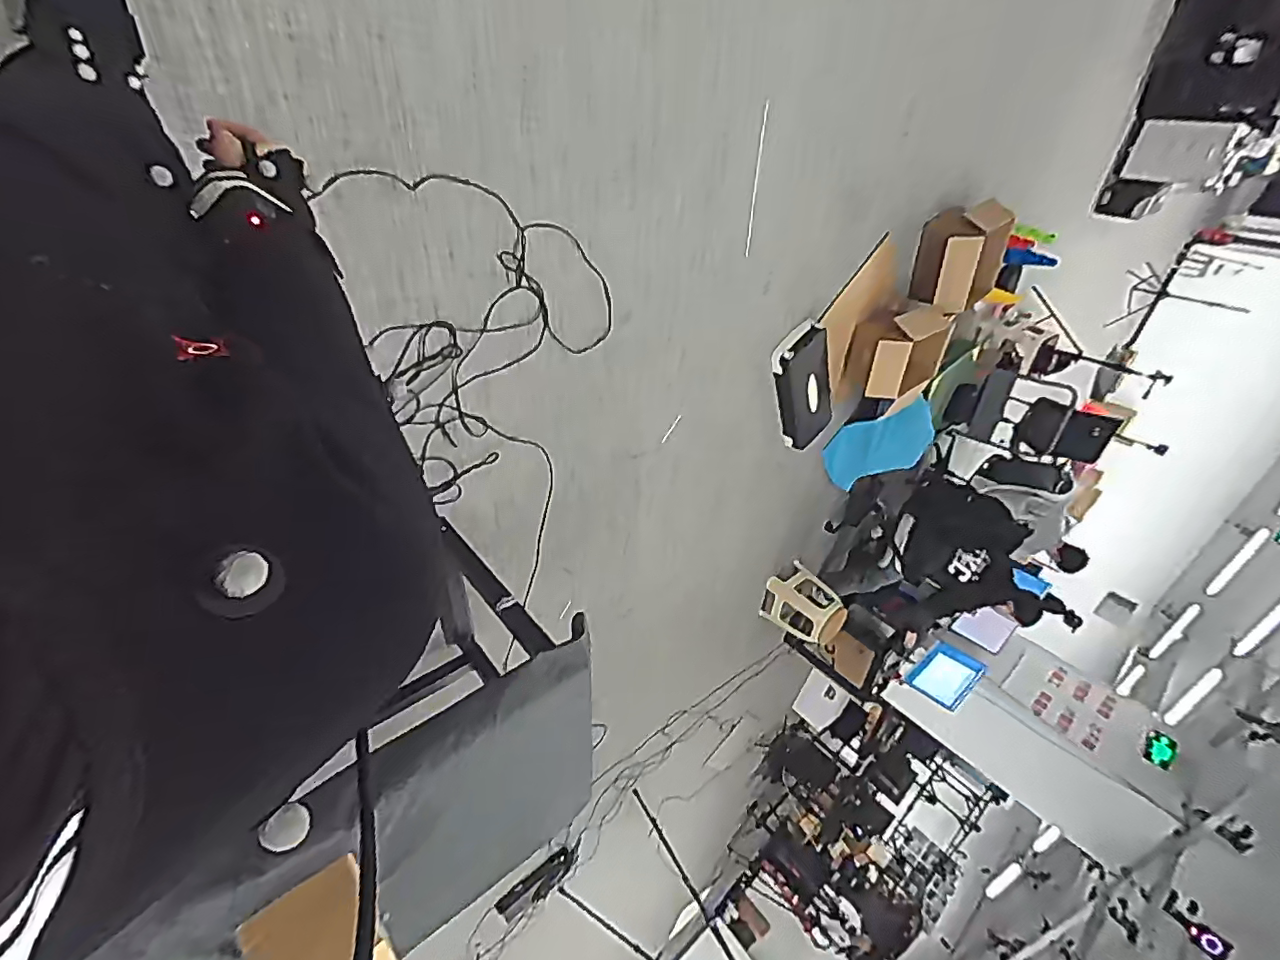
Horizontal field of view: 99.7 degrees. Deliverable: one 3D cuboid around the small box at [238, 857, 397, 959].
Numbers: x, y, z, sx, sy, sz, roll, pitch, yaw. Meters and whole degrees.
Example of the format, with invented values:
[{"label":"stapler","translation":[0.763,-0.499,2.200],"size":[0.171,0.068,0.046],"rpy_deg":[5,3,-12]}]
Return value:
[{"label":"small box","translation":[-0.537,0.791,0.910],"size":[0.179,0.176,0.168],"rpy_deg":[-23,133,-34]}]
